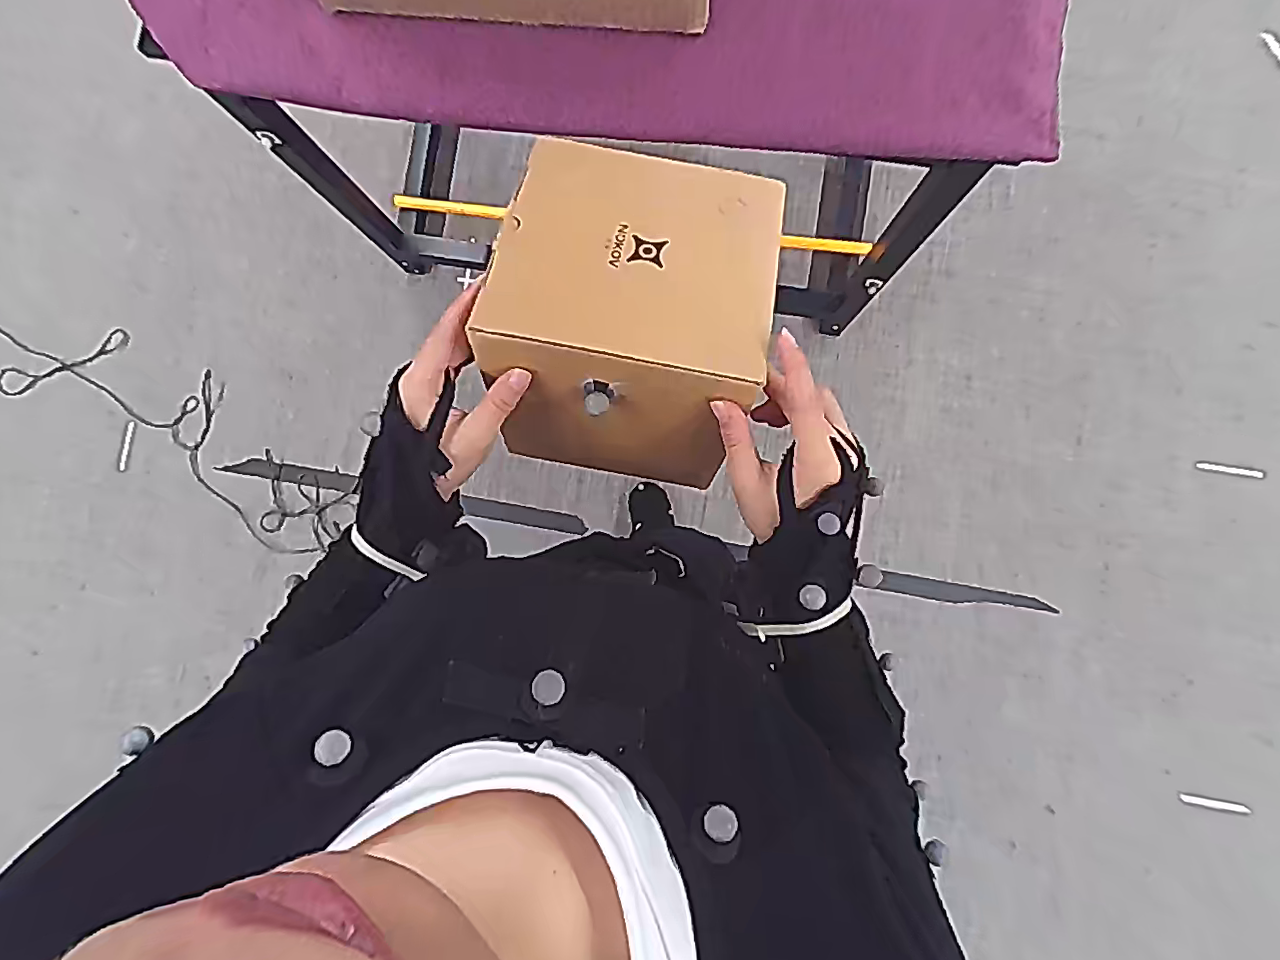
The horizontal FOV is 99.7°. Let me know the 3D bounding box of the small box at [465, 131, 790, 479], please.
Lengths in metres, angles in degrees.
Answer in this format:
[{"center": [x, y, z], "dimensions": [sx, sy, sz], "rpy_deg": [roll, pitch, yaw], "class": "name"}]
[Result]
[{"center": [-0.004, -0.113, 0.404], "dimensions": [0.179, 0.176, 0.168], "rpy_deg": [10, 67, 1], "class": "small box"}]
